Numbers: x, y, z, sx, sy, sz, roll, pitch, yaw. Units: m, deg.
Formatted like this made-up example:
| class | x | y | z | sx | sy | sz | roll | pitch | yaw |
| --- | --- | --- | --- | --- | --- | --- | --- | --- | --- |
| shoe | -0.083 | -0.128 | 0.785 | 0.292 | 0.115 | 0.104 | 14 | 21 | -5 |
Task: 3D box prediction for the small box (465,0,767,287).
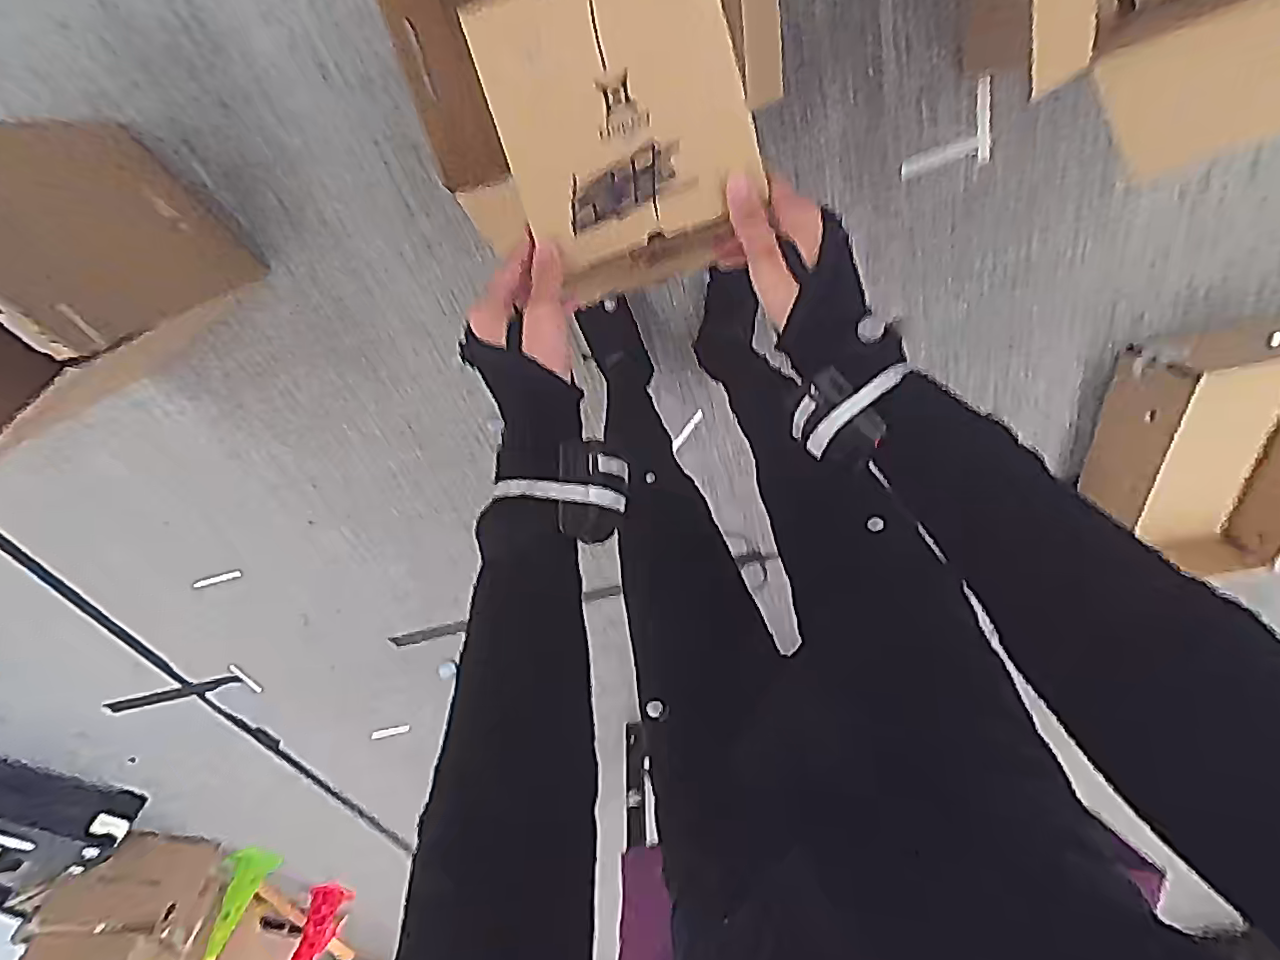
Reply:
| class | x | y | z | sx | sy | sz | roll | pitch | yaw |
| --- | --- | --- | --- | --- | --- | --- | --- | --- | --- |
| small box | -0.010 | -0.269 | 0.439 | 0.168 | 0.176 | 0.179 | -17 | 100 | 5 |
